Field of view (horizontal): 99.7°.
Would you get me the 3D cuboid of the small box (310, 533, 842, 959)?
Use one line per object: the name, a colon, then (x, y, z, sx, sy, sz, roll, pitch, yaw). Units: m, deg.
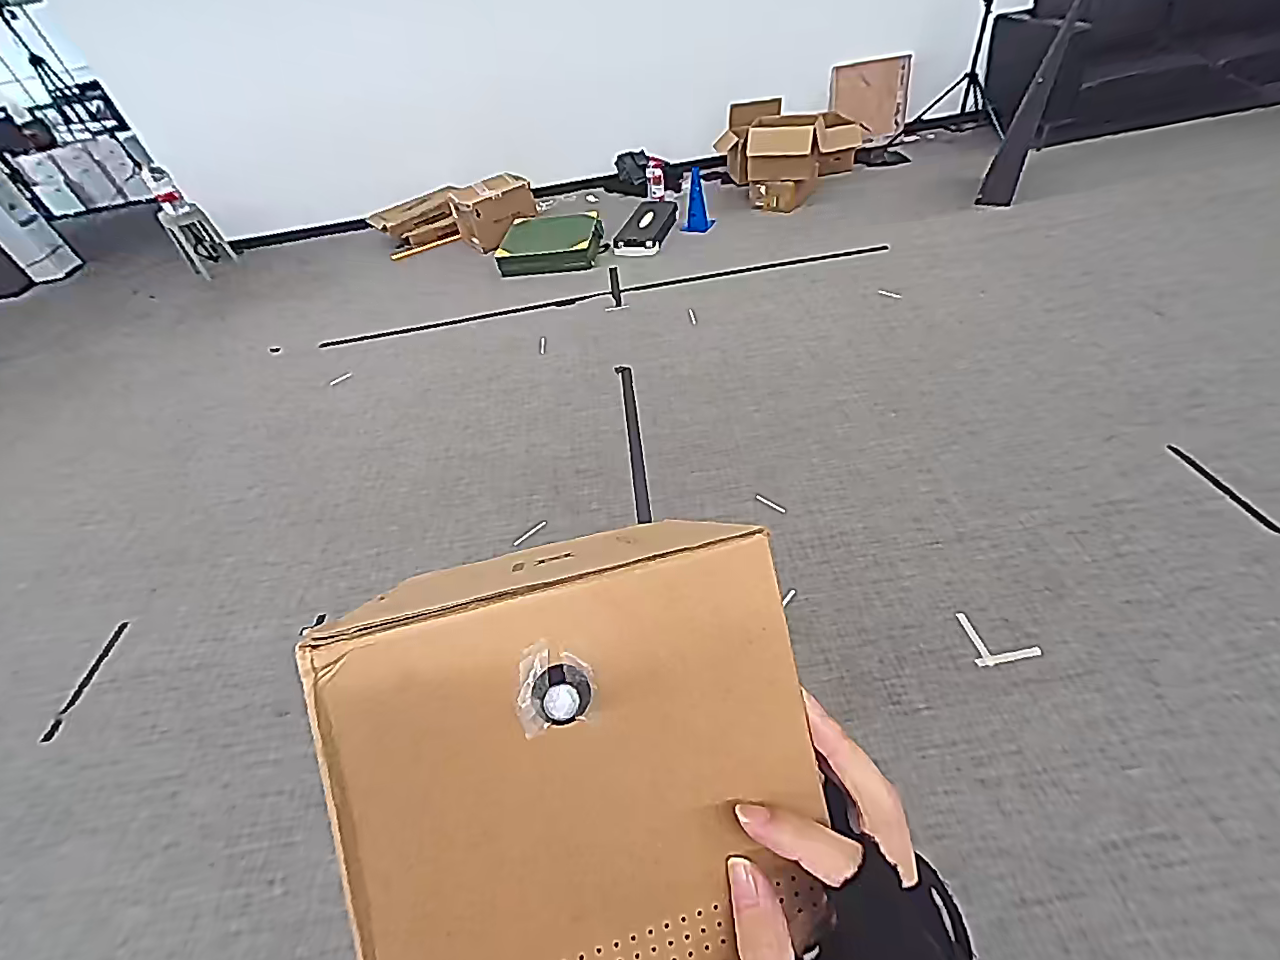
small box: (-0.027, 0.129, 0.275, 0.179, 0.168, 0.176, -12, 89, -11)
